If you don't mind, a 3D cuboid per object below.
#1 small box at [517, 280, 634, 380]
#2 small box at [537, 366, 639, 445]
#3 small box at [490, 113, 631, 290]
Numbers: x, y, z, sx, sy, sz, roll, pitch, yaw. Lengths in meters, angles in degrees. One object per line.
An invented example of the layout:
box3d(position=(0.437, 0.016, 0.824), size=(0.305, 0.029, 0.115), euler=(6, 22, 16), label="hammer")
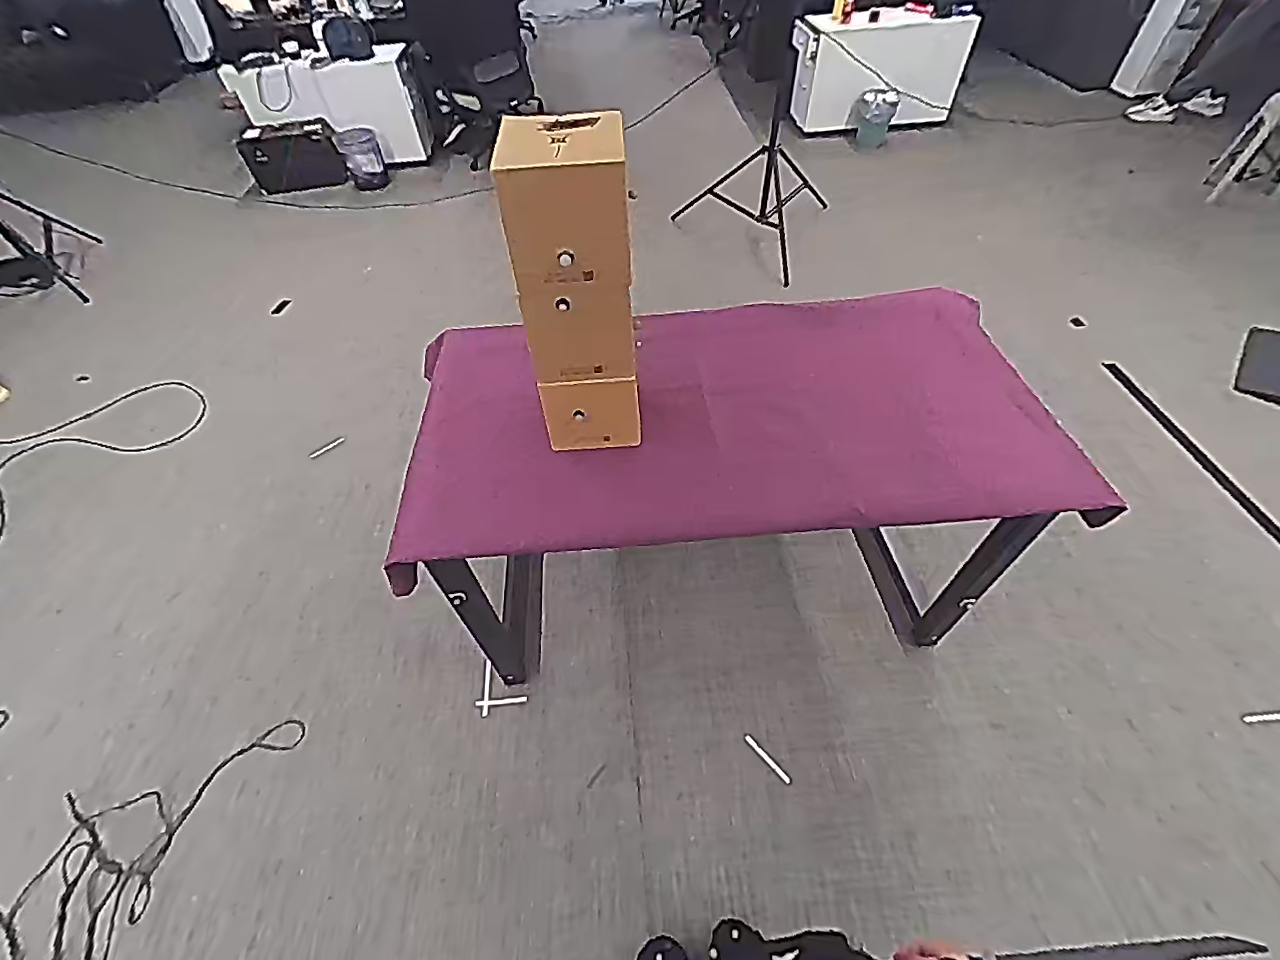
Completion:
box3d(position=(-0.098, -0.286, 0.889), size=(0.168, 0.176, 0.179), euler=(-5, 50, 0), label="small box")
box3d(position=(-0.091, -0.177, 1.012), size=(0.168, 0.176, 0.179), euler=(-4, 50, 0), label="small box")
box3d(position=(-0.100, -0.389, 0.761), size=(0.168, 0.176, 0.179), euler=(-4, 51, 0), label="small box")
